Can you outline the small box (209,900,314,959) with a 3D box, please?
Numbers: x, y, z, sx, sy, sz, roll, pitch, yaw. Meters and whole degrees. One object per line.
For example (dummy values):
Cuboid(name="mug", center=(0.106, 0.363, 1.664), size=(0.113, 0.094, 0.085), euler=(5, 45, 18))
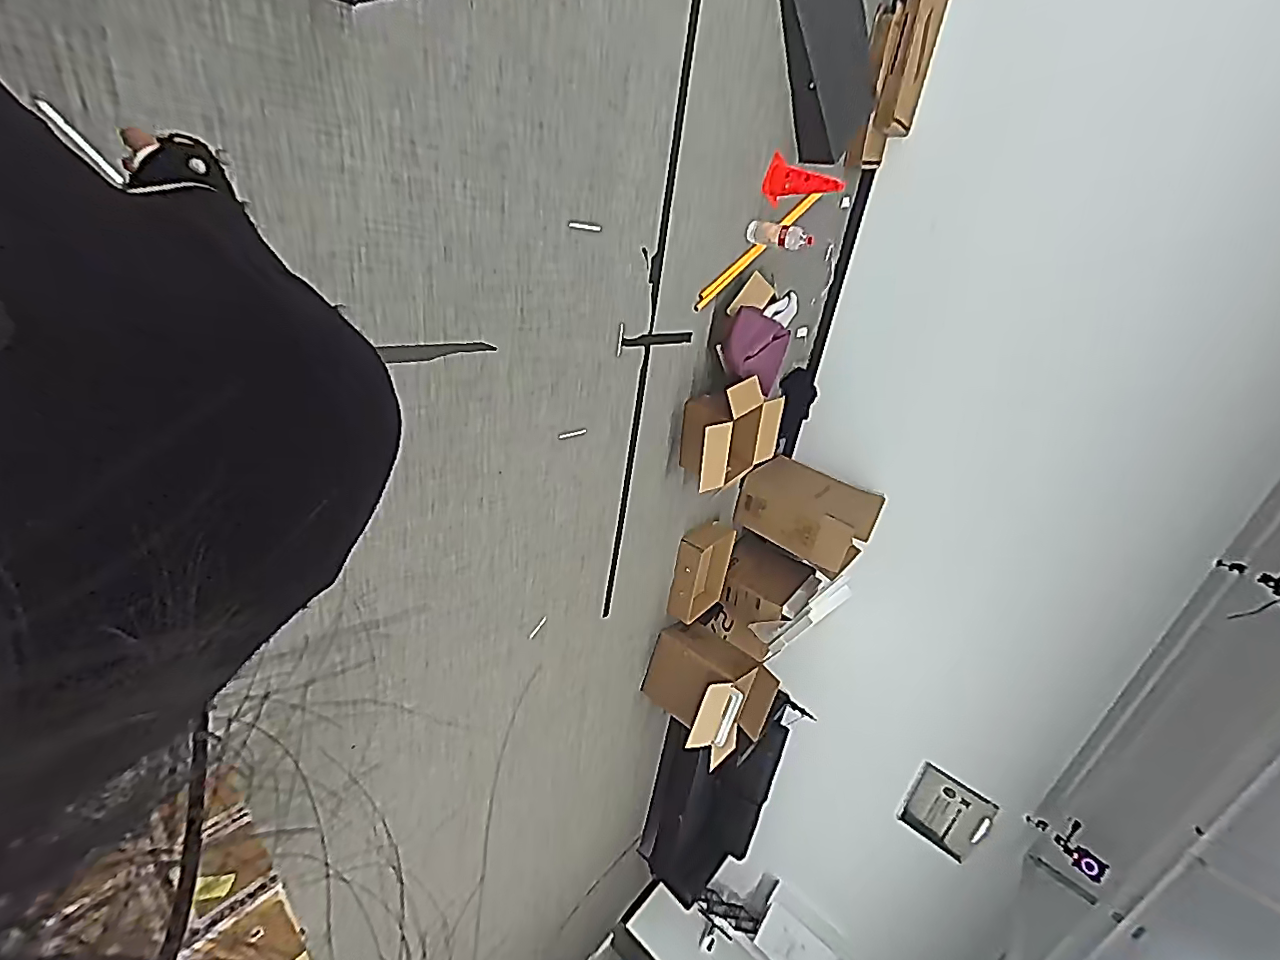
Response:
Cuboid(name="small box", center=(-0.925, 1.201, 1.333), size=(0.168, 0.176, 0.179), euler=(-23, 126, -47))
